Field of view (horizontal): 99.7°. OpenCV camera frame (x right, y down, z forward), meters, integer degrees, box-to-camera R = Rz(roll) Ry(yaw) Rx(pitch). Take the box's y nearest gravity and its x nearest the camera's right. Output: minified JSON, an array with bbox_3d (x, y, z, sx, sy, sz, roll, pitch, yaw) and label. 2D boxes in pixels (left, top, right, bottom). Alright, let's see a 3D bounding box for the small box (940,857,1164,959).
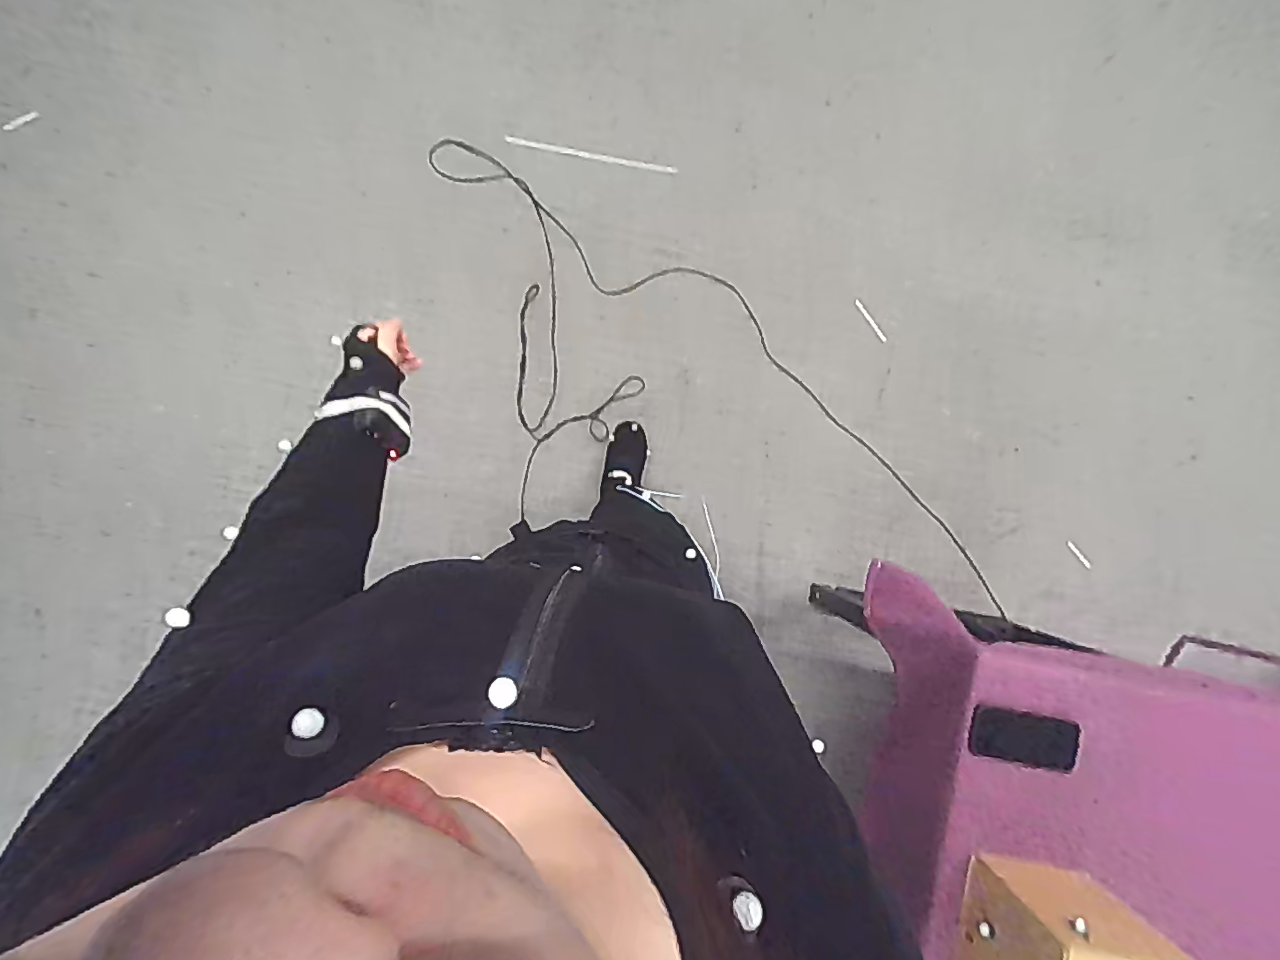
[{"bbox_3d":[0.534,0.633,0.702,0.179,0.176,0.168,12,89,-2],"label":"small box"}]
